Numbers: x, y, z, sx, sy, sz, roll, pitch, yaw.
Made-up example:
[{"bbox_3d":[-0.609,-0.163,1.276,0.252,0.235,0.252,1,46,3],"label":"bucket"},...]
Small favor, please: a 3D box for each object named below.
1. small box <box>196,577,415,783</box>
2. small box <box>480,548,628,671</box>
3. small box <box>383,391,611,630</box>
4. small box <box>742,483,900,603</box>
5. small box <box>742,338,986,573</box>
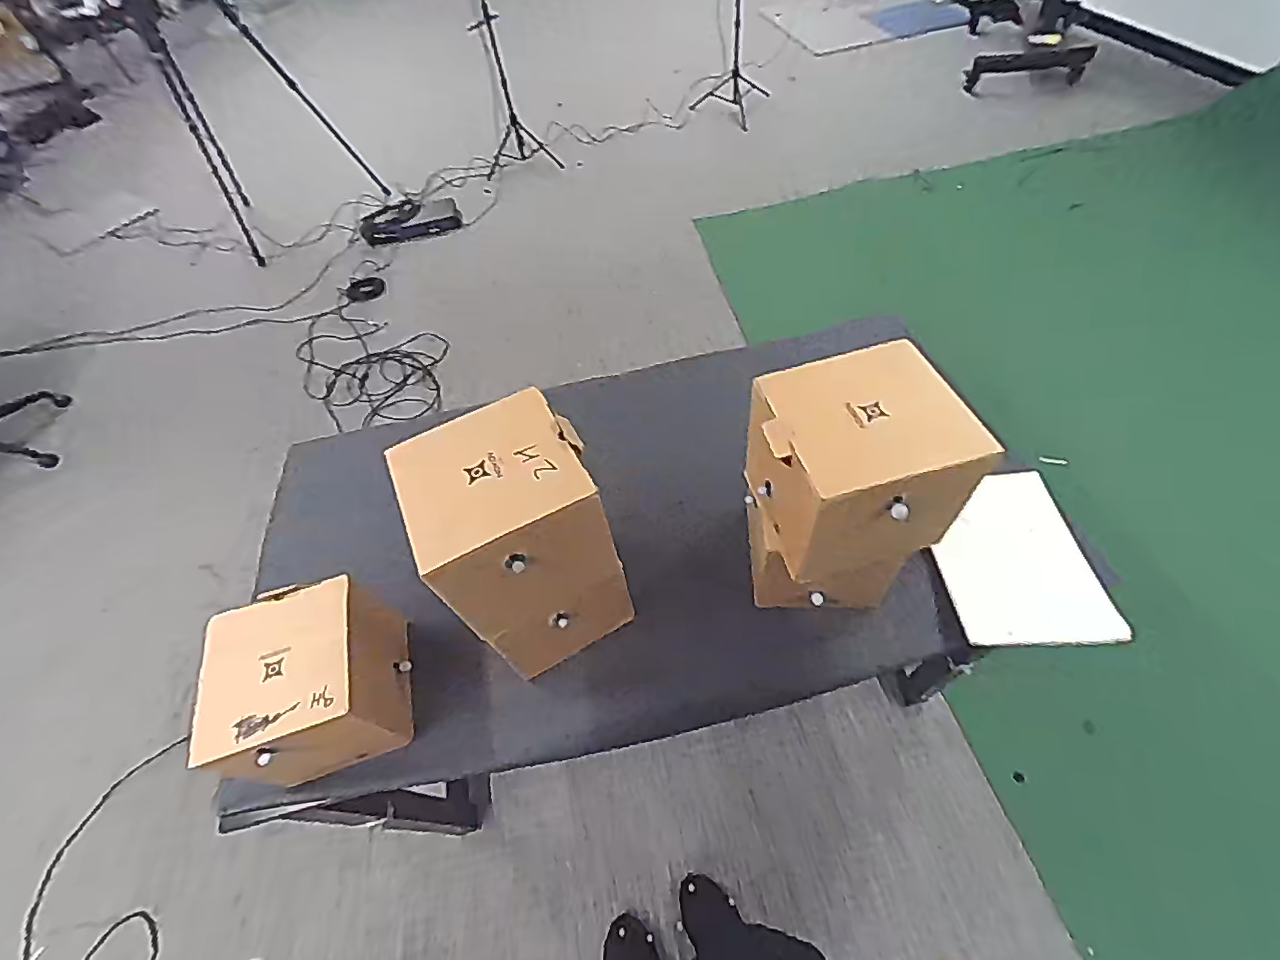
[{"bbox_3d":[-0.404,0.255,0.684,0.168,0.176,0.179,-19,55,-6],"label":"small box"},{"bbox_3d":[-0.133,0.132,0.738,0.179,0.176,0.168,-28,57,-13],"label":"small box"},{"bbox_3d":[-0.149,0.040,0.603,0.179,0.176,0.168,-26,57,-11],"label":"small box"},{"bbox_3d":[0.231,0.054,0.742,0.168,0.176,0.179,-2,55,7],"label":"small box"},{"bbox_3d":[0.222,-0.021,0.595,0.179,0.176,0.168,-16,54,-3],"label":"small box"}]
